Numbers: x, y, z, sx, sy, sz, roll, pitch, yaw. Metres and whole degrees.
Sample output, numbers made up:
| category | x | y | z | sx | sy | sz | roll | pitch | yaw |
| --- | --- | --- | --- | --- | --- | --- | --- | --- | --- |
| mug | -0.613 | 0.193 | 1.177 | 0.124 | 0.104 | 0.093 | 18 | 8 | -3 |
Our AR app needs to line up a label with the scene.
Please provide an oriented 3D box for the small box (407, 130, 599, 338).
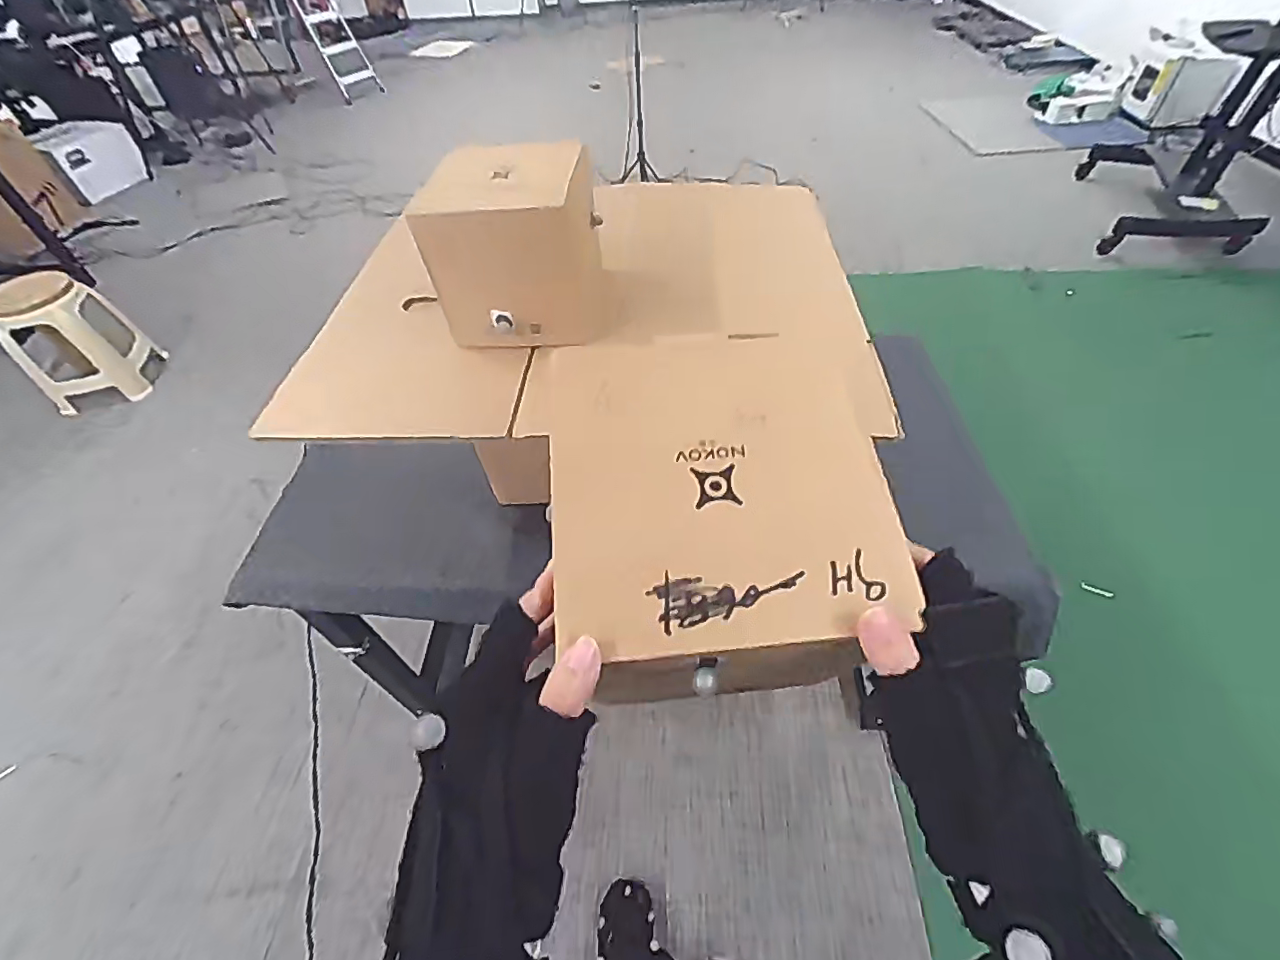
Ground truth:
| category | x | y | z | sx | sy | sz | roll | pitch | yaw |
| --- | --- | --- | --- | --- | --- | --- | --- | --- | --- |
| small box | -0.144 | -0.290 | 0.647 | 0.168 | 0.176 | 0.179 | -1 | 51 | 5 |

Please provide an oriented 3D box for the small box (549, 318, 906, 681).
| category | x | y | z | sx | sy | sz | roll | pitch | yaw |
| --- | --- | --- | --- | --- | --- | --- | --- | --- | --- |
| small box | 0.035 | 0.022 | 0.354 | 0.168 | 0.176 | 0.179 | -5 | 61 | -1 |
